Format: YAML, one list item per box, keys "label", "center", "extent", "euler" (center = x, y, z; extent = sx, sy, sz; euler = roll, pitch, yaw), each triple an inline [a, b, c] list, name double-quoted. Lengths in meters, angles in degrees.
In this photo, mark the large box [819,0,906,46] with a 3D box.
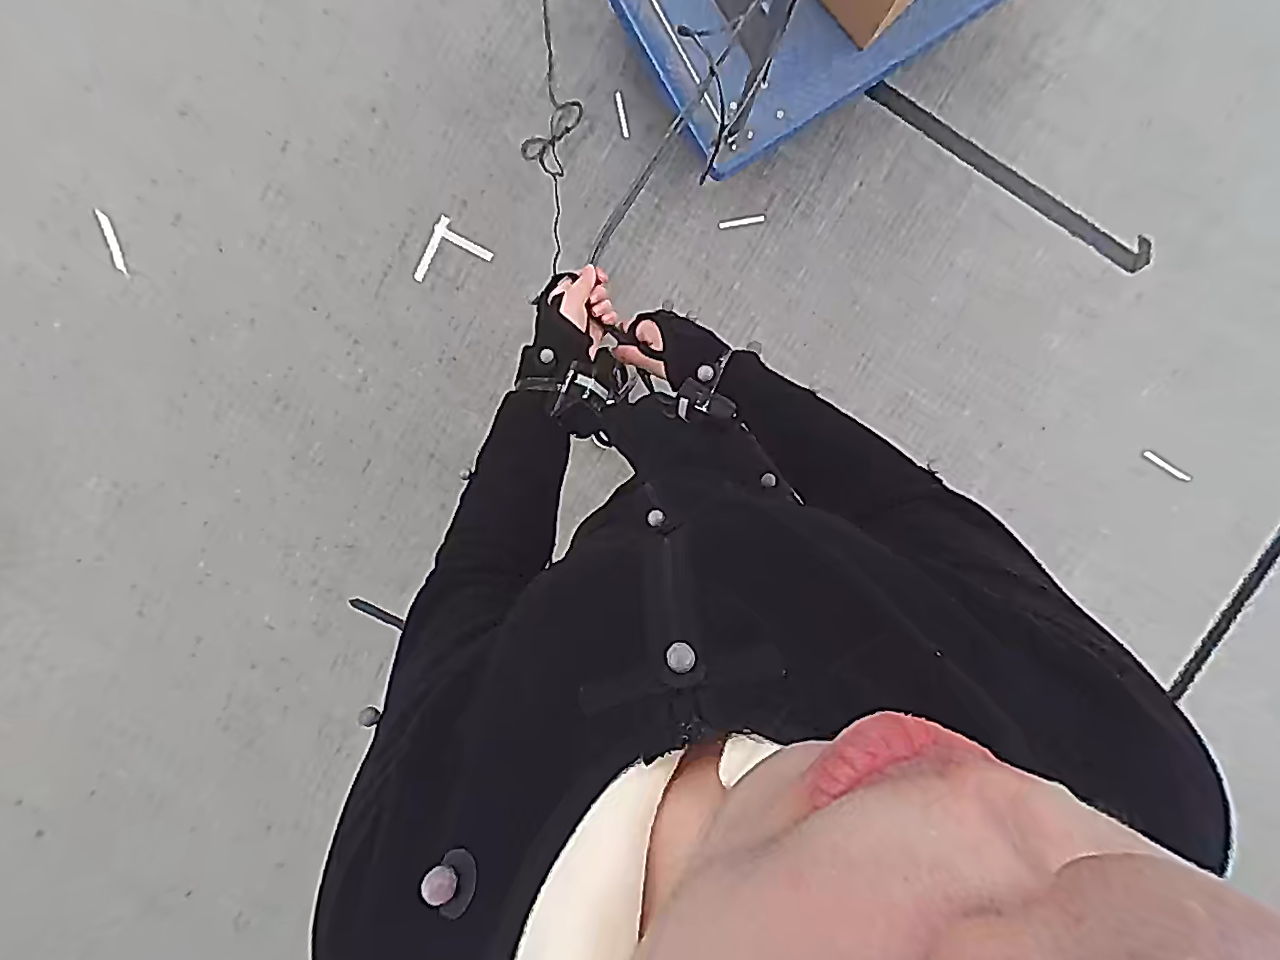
- label: "large box"
  center: [0.450, -1.166, 1.005]
  extent: [0.408, 0.320, 0.320]
  euler: [43, 95, -7]
